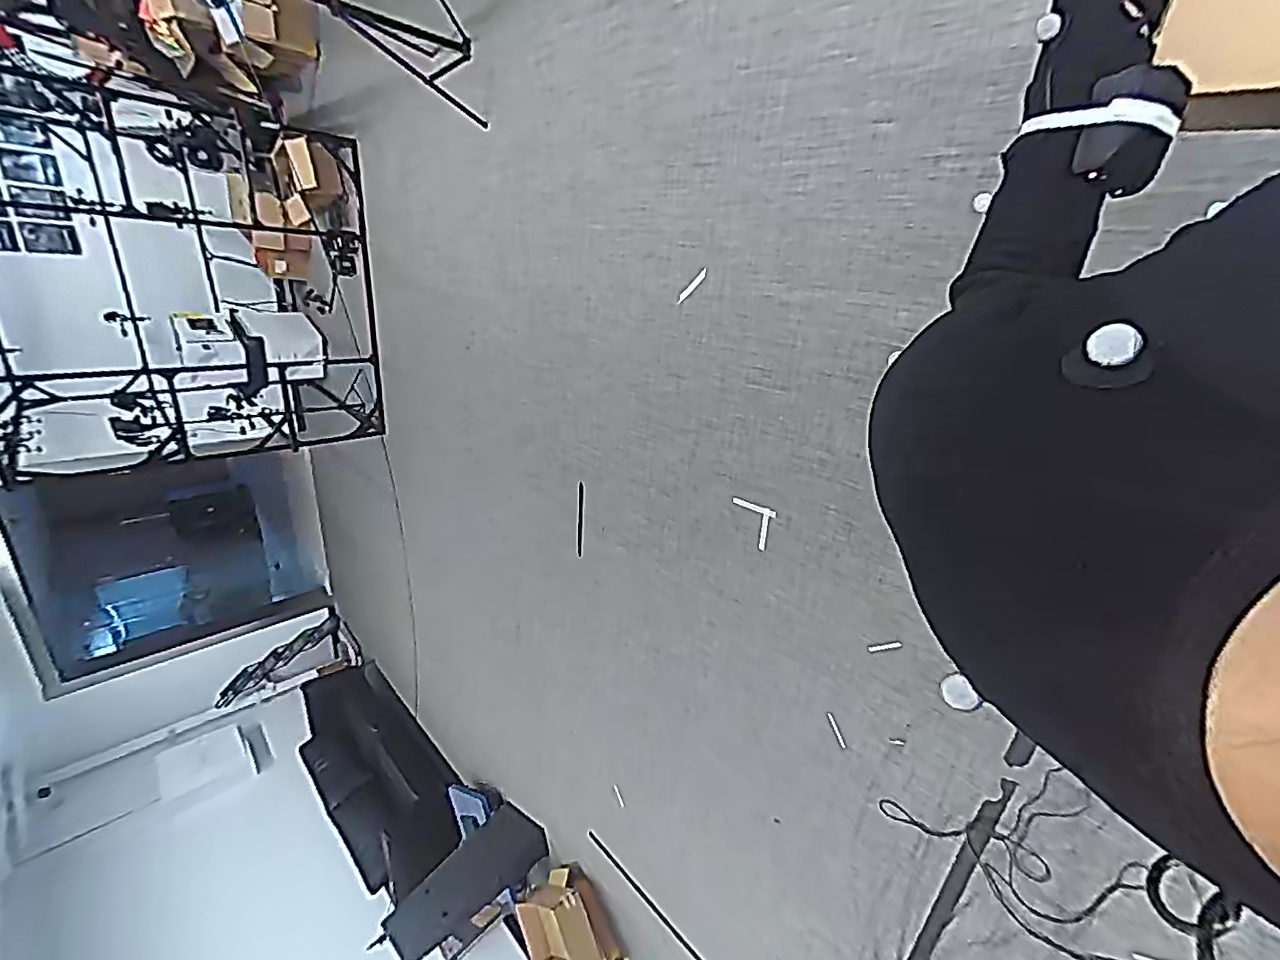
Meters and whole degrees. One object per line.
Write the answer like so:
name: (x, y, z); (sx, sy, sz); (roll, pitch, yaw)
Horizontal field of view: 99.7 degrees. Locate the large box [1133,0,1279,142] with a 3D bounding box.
large box: (0.604, -0.398, 0.310); (0.408, 0.320, 0.320); (23, 126, 36)
